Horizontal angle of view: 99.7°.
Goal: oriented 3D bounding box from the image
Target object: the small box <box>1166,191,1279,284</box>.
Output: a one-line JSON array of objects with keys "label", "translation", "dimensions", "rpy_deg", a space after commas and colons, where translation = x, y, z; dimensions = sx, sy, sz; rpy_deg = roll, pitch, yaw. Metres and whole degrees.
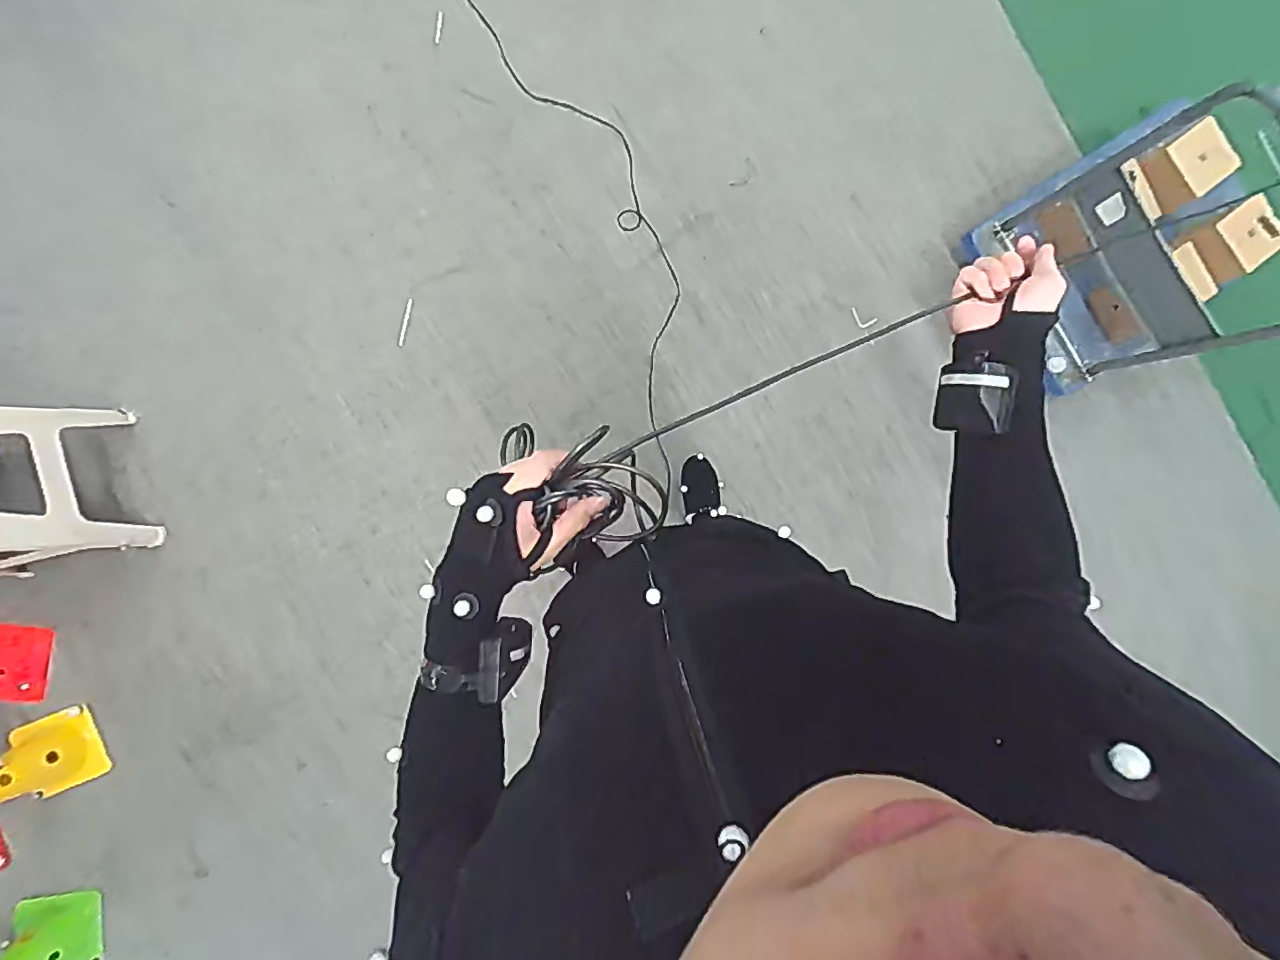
[{"label": "small box", "translation": [1.688, -0.674, 1.546], "dimensions": [0.179, 0.176, 0.168], "rpy_deg": [-36, 91, -4]}]

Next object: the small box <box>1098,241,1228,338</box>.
[{"label": "small box", "translation": [1.462, -0.528, 1.523], "dimensions": [0.179, 0.176, 0.168], "rpy_deg": [-32, 92, -4]}]

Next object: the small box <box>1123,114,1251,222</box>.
[{"label": "small box", "translation": [1.537, -0.876, 1.537], "dimensions": [0.179, 0.176, 0.168], "rpy_deg": [-36, 93, -5]}]
